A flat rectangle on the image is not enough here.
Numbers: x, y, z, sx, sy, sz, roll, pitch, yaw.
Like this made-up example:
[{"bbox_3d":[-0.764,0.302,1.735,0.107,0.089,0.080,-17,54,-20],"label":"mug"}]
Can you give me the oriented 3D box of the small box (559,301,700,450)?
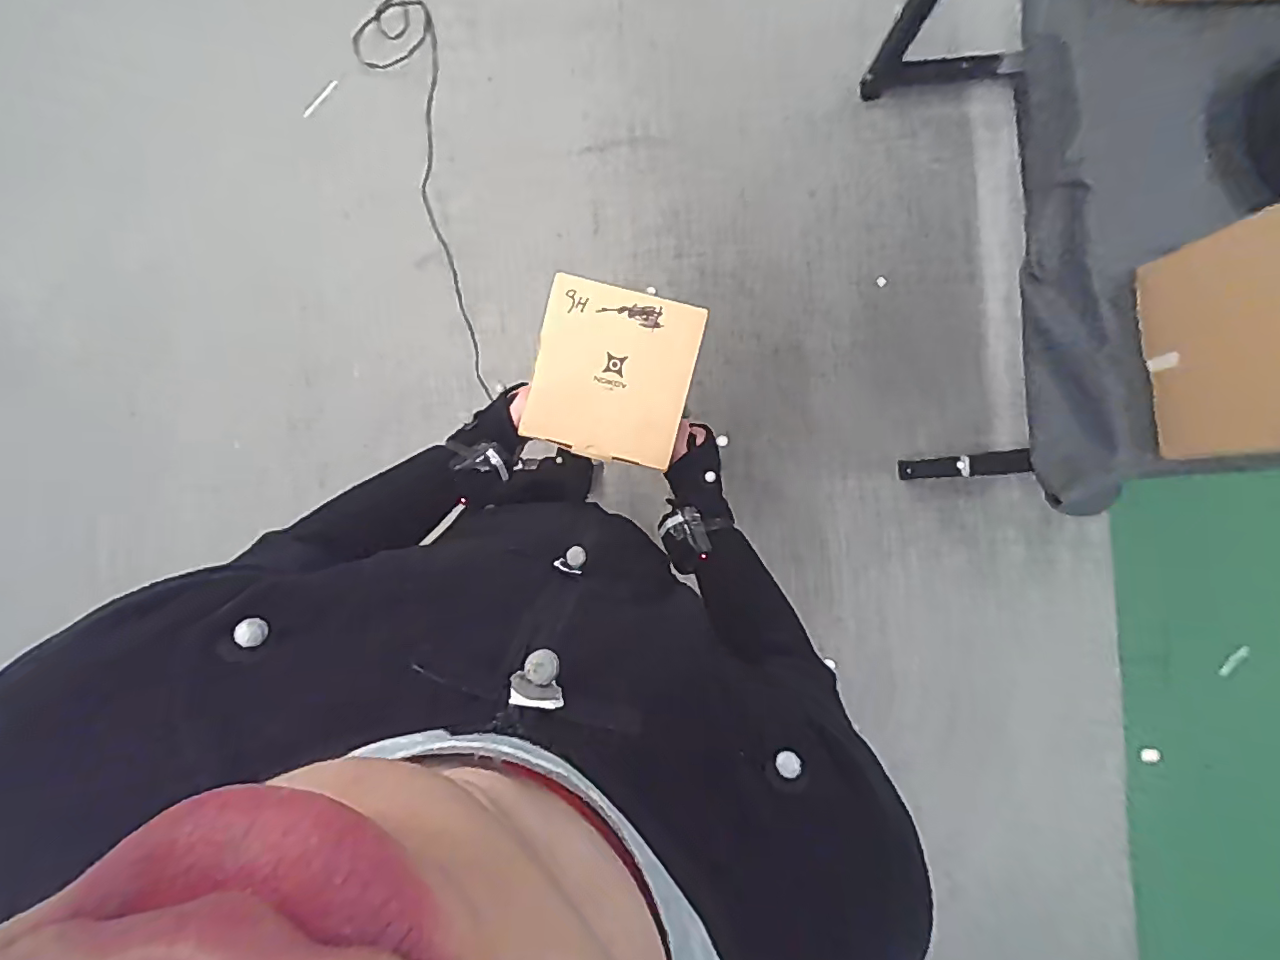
[{"bbox_3d":[-0.011,-0.145,0.813,0.168,0.176,0.179,12,92,1],"label":"small box"}]
